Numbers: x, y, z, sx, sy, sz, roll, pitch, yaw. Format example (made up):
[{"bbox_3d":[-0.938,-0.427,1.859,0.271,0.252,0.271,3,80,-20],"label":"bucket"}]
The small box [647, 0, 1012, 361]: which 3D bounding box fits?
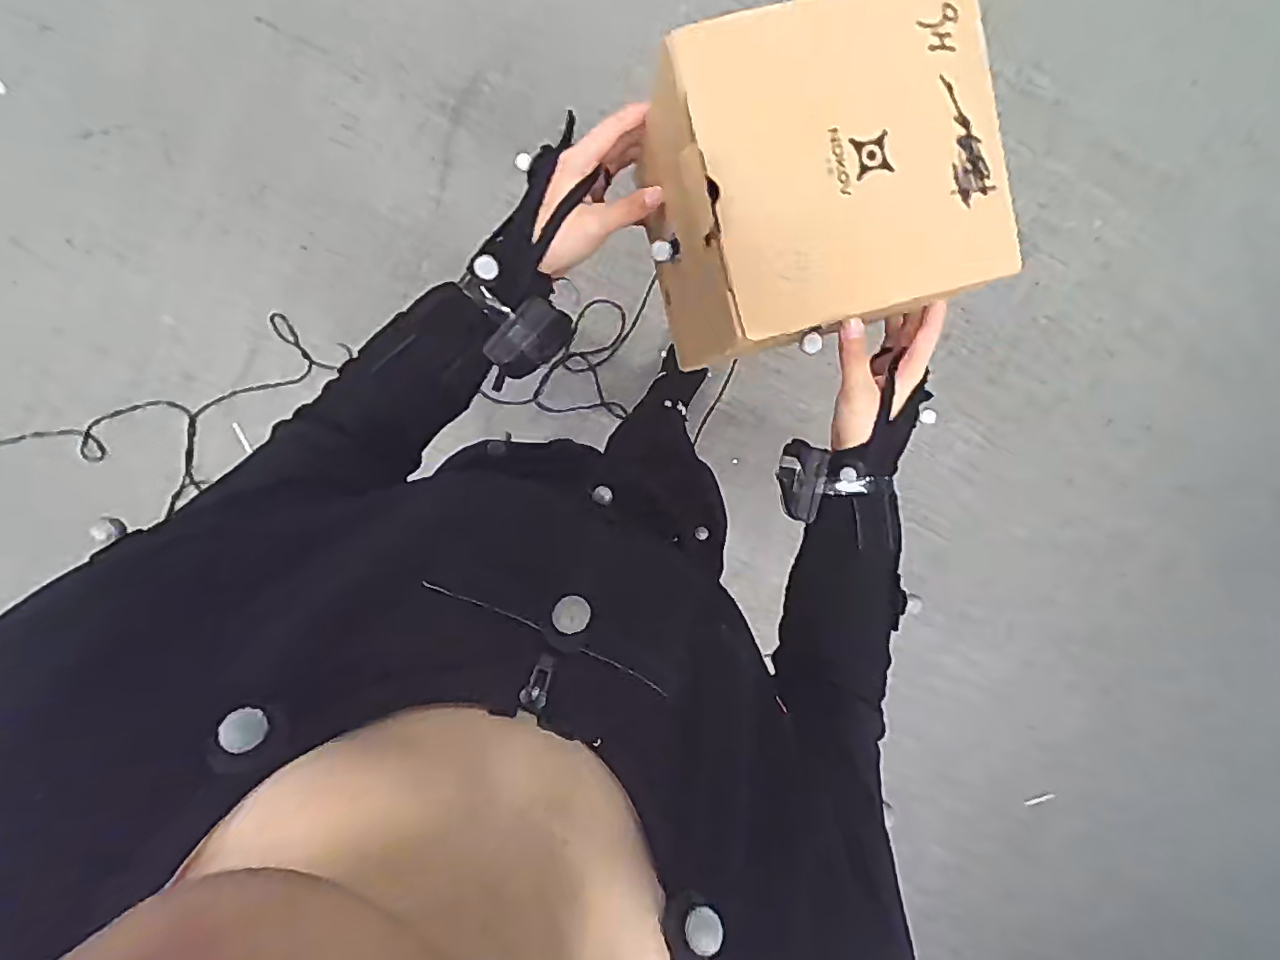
[{"bbox_3d":[0.108,-0.190,0.381,0.179,0.176,0.168,-16,98,-4],"label":"small box"}]
